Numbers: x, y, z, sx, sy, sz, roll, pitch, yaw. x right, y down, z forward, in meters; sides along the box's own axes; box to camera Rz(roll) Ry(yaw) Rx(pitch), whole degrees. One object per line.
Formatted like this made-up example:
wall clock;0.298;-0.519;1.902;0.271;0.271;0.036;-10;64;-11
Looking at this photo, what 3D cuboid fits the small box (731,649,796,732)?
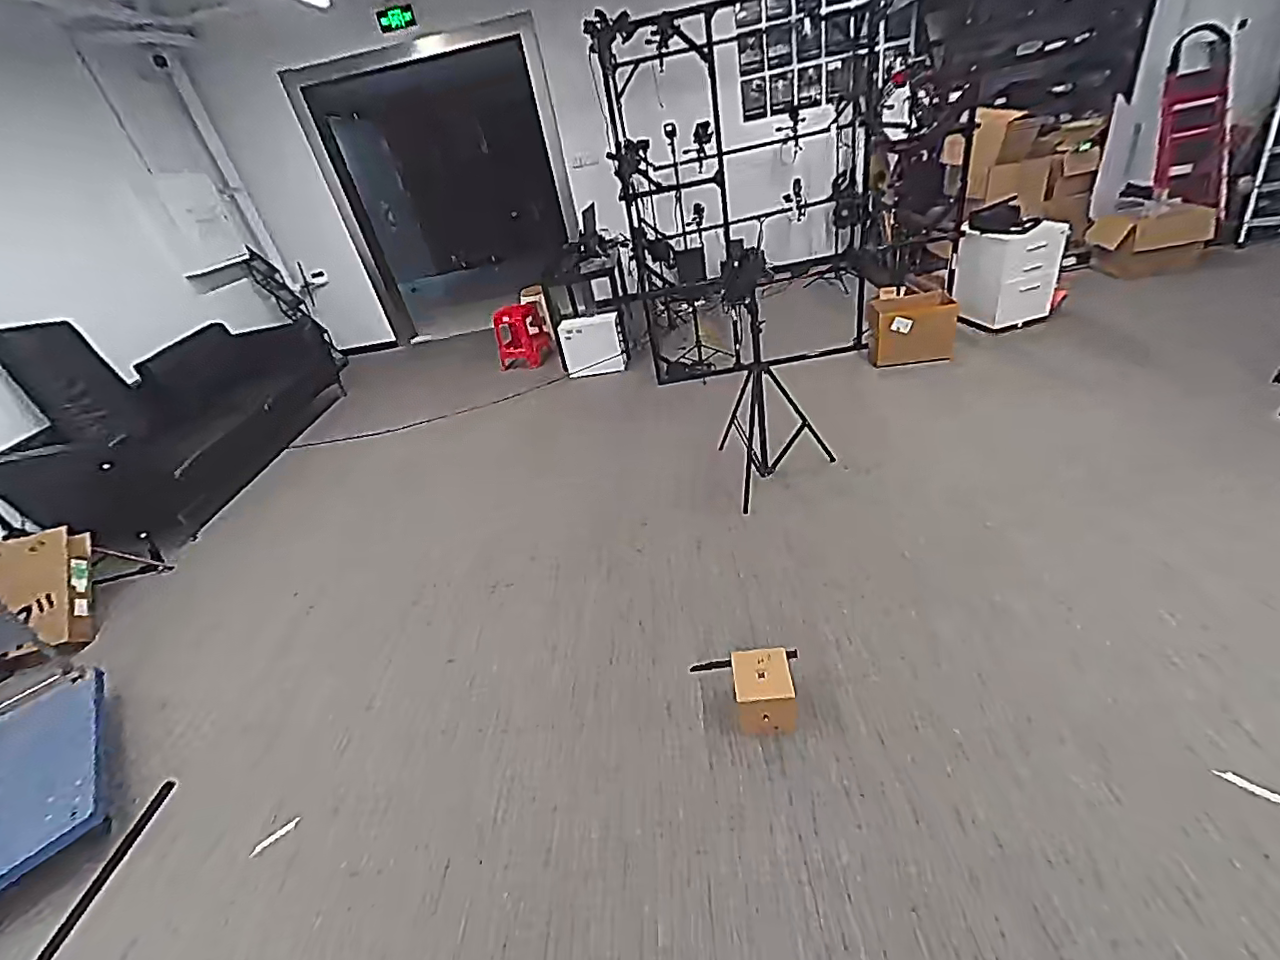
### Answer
small box;0.371;0.641;1.634;0.168;0.176;0.179;-8;32;7
